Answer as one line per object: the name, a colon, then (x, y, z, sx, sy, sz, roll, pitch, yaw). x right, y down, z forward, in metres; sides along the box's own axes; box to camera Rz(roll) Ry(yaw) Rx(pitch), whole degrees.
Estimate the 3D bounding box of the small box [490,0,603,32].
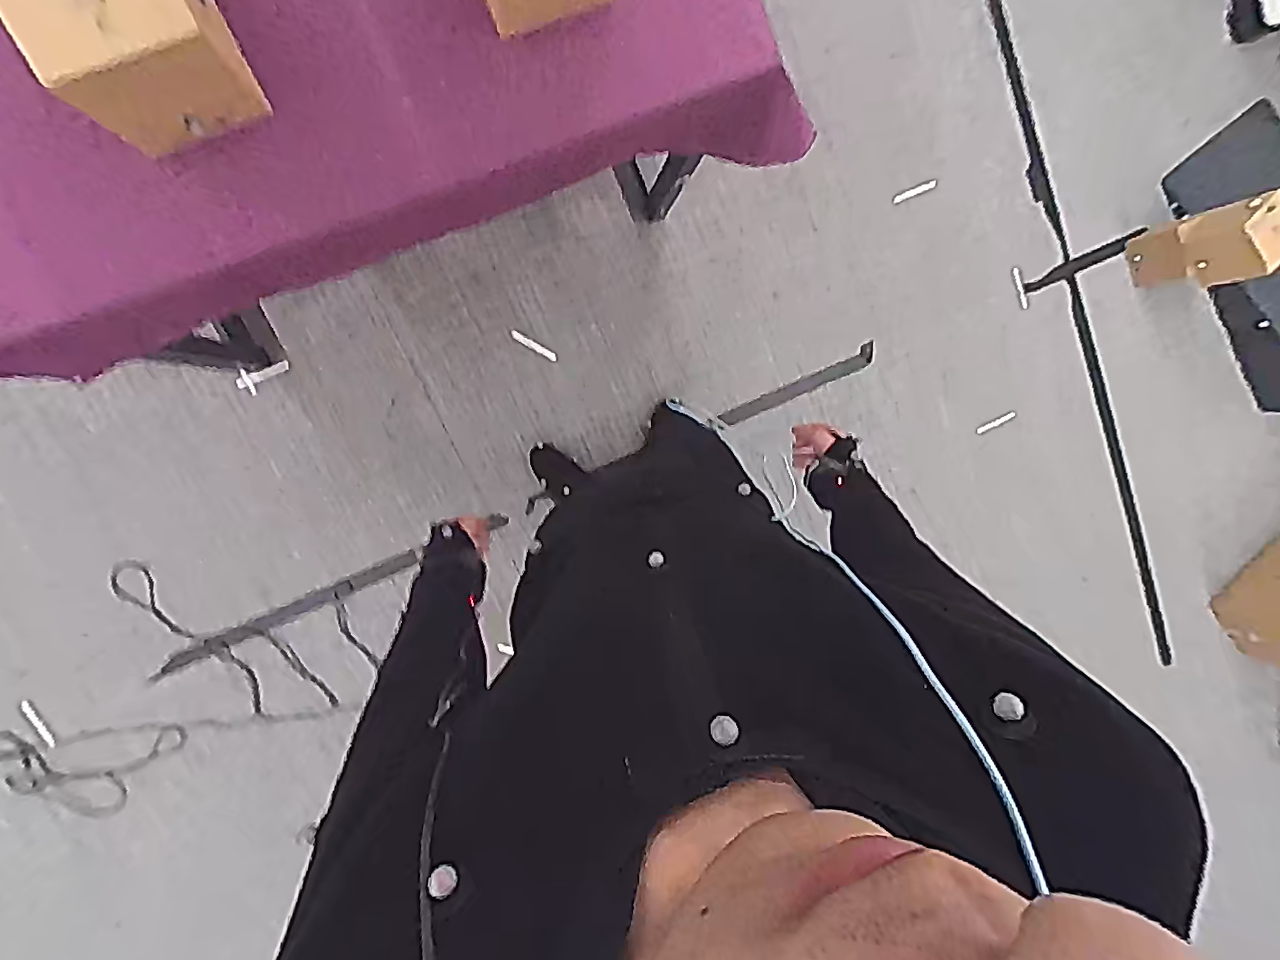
small box: (-0.132, -0.719, 0.677, 0.179, 0.176, 0.168, -25, 101, -7)
